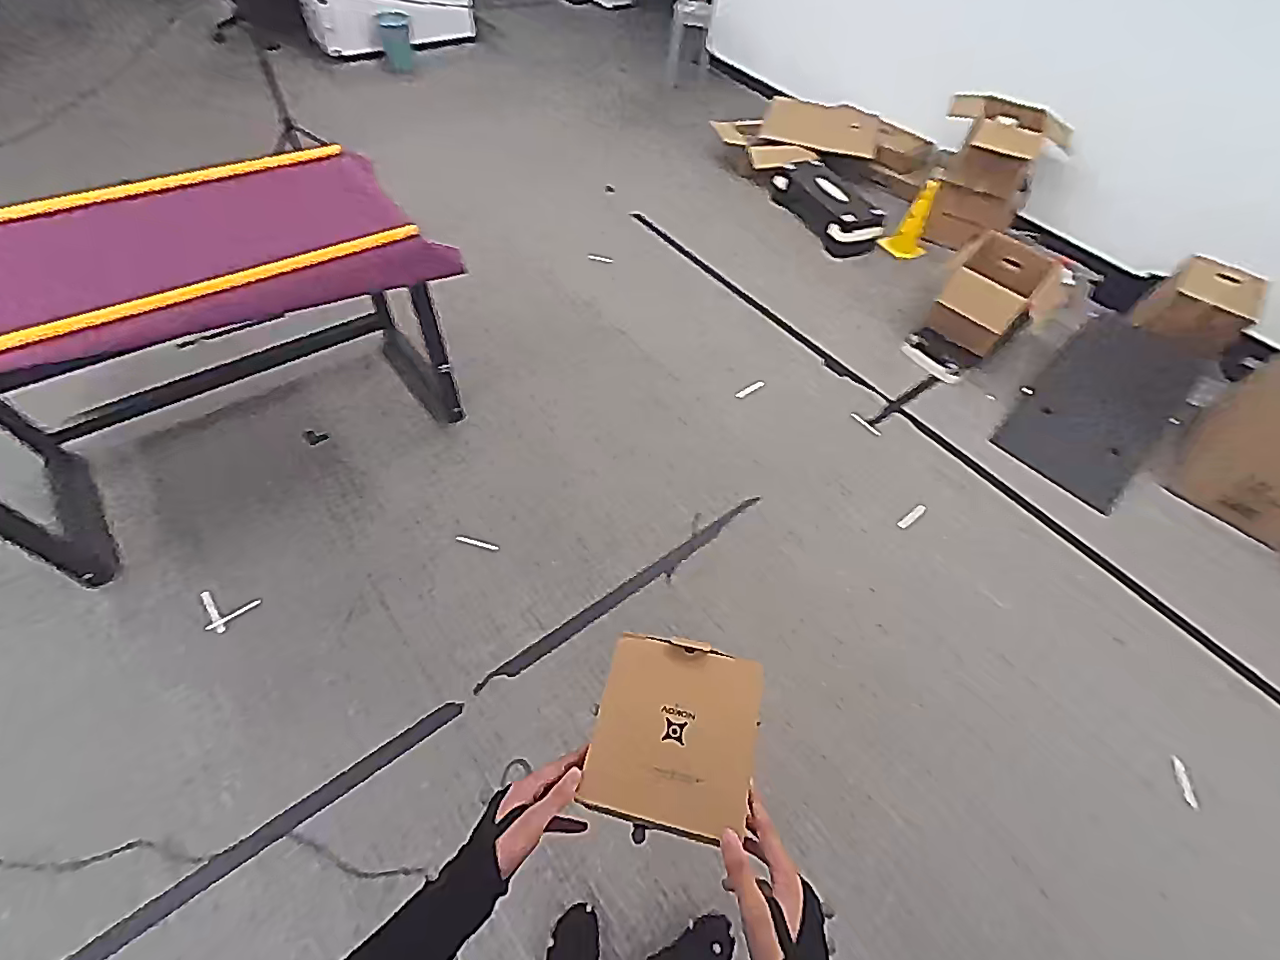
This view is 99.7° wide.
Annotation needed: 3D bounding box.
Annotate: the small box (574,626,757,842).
[{"bbox_3d":[0.032,0.295,0.624,0.168,0.176,0.179,9,55,8],"label":"small box"}]
